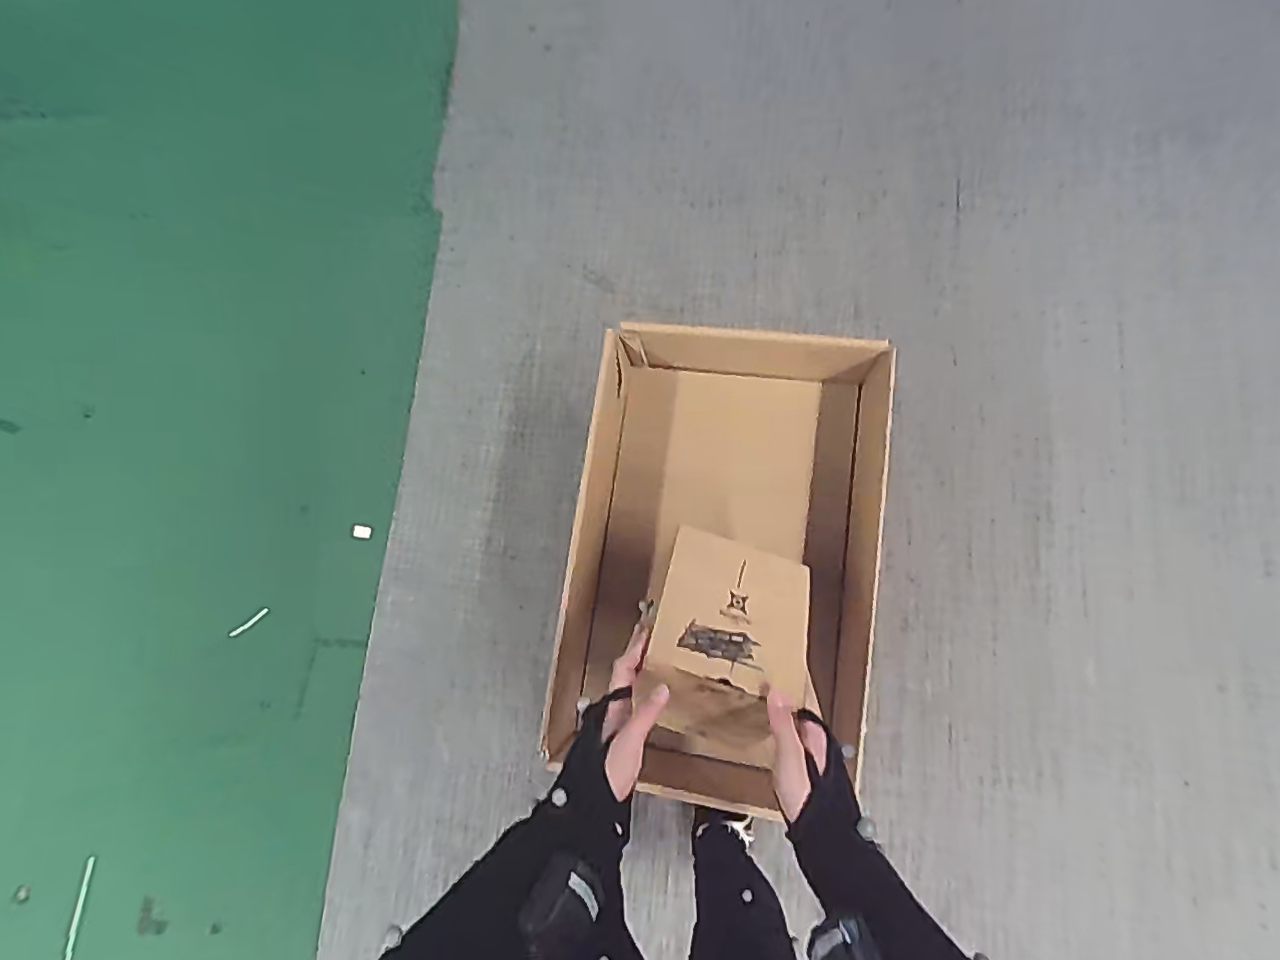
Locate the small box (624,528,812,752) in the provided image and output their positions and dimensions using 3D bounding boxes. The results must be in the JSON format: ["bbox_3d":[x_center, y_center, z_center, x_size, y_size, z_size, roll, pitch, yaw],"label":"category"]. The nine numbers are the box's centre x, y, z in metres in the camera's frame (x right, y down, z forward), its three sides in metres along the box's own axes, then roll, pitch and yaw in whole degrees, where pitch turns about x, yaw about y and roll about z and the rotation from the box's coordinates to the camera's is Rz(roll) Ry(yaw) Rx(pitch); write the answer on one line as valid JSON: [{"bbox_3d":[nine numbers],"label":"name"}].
[{"bbox_3d":[0.086,0.192,0.633,0.168,0.176,0.179,18,48,1],"label":"small box"}]
